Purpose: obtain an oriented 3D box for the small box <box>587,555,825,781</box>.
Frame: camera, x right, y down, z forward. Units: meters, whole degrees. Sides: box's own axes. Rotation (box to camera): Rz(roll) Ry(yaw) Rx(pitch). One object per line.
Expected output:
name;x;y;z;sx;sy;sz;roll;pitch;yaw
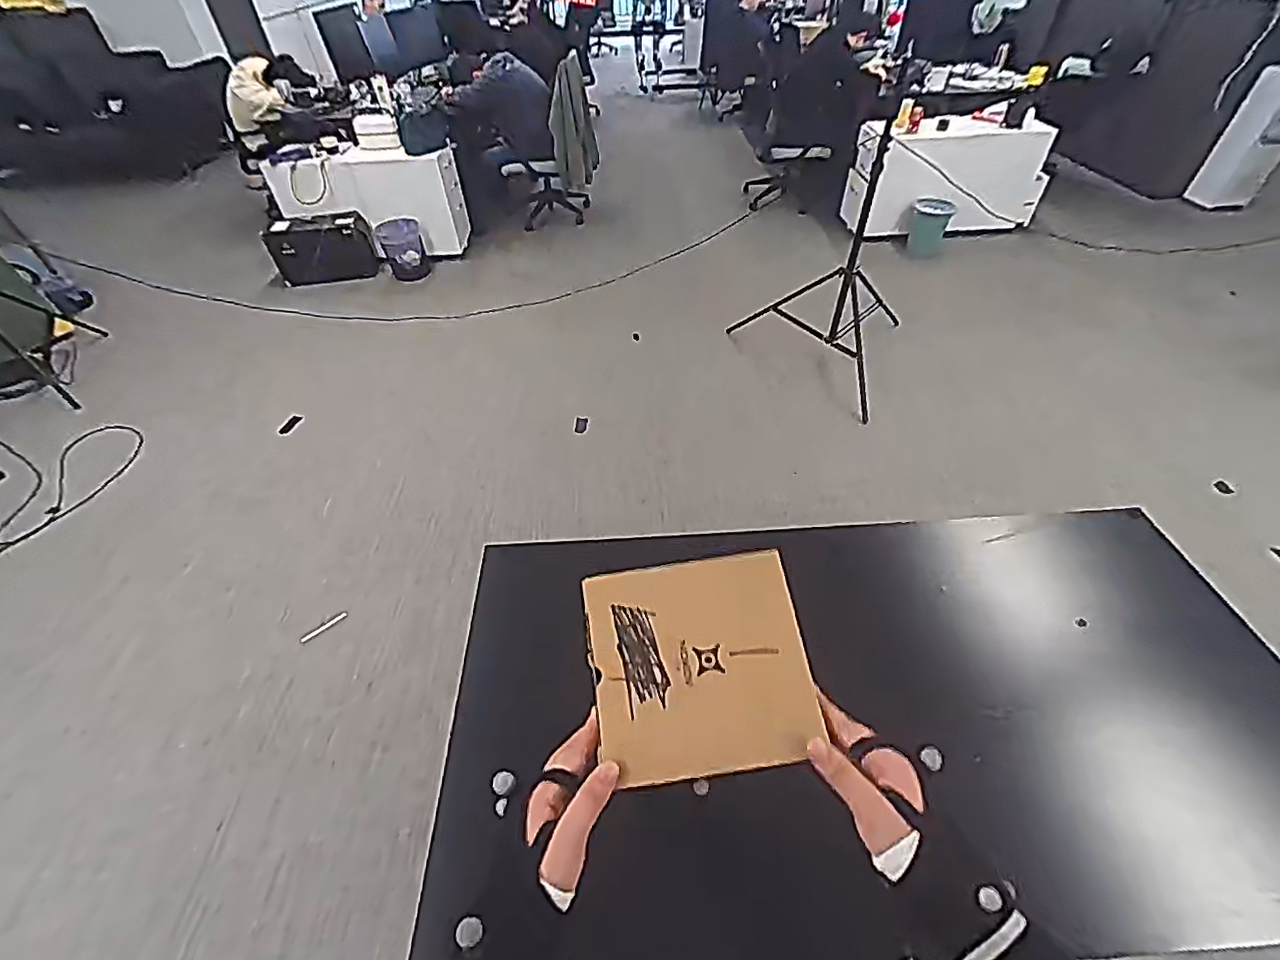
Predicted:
small box;0.051;0.186;0.518;0.179;0.176;0.168;-7;62;-2
